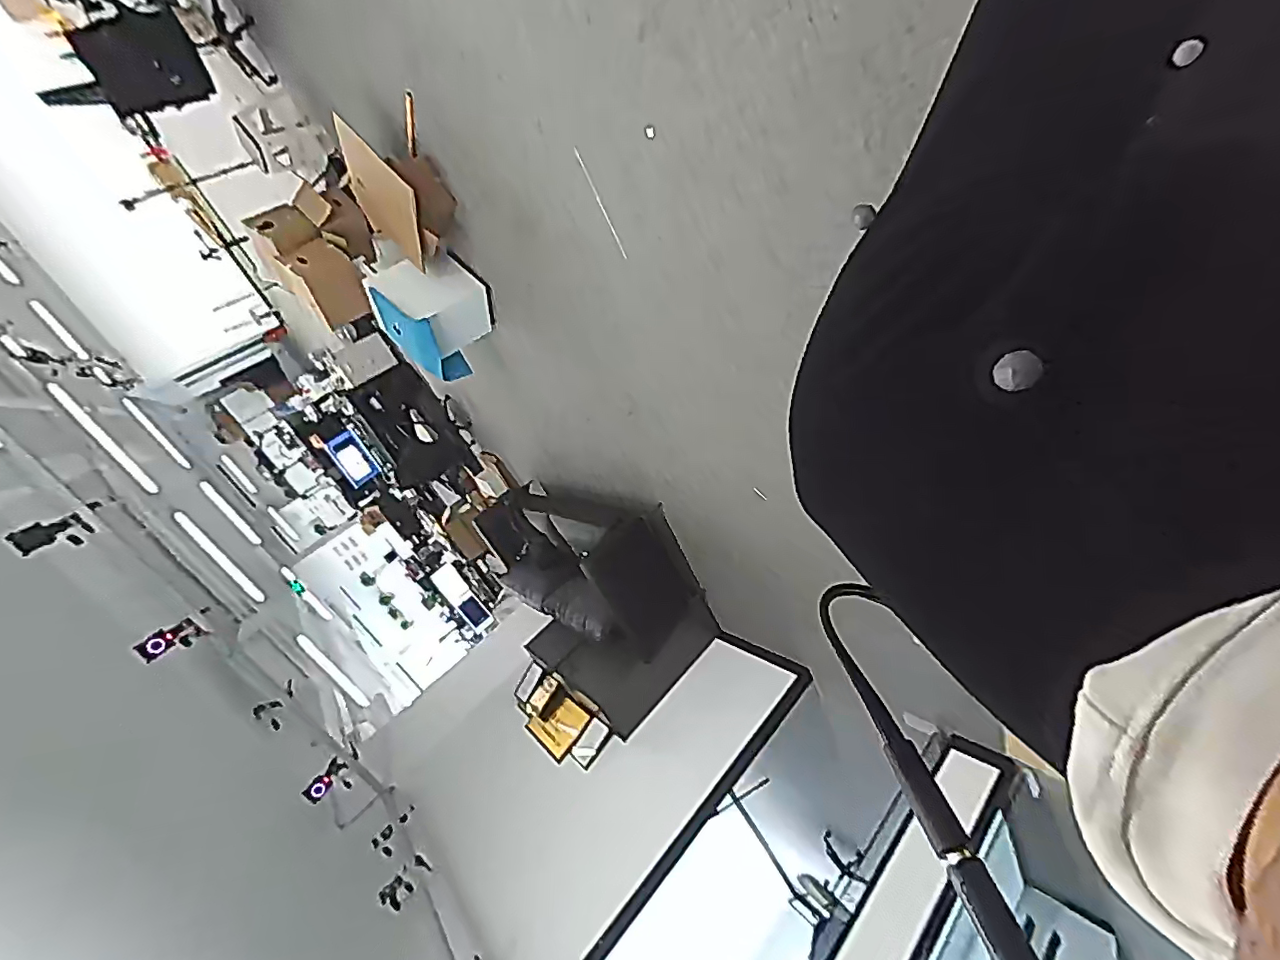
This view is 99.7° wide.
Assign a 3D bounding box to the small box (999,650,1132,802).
[{"bbox_3d":[0.834,0.474,1.061,0.168,0.176,0.179,15,137,50],"label":"small box"}]

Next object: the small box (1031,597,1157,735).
[{"bbox_3d":[0.947,0.380,1.130,0.168,0.176,0.179,14,137,51],"label":"small box"}]
